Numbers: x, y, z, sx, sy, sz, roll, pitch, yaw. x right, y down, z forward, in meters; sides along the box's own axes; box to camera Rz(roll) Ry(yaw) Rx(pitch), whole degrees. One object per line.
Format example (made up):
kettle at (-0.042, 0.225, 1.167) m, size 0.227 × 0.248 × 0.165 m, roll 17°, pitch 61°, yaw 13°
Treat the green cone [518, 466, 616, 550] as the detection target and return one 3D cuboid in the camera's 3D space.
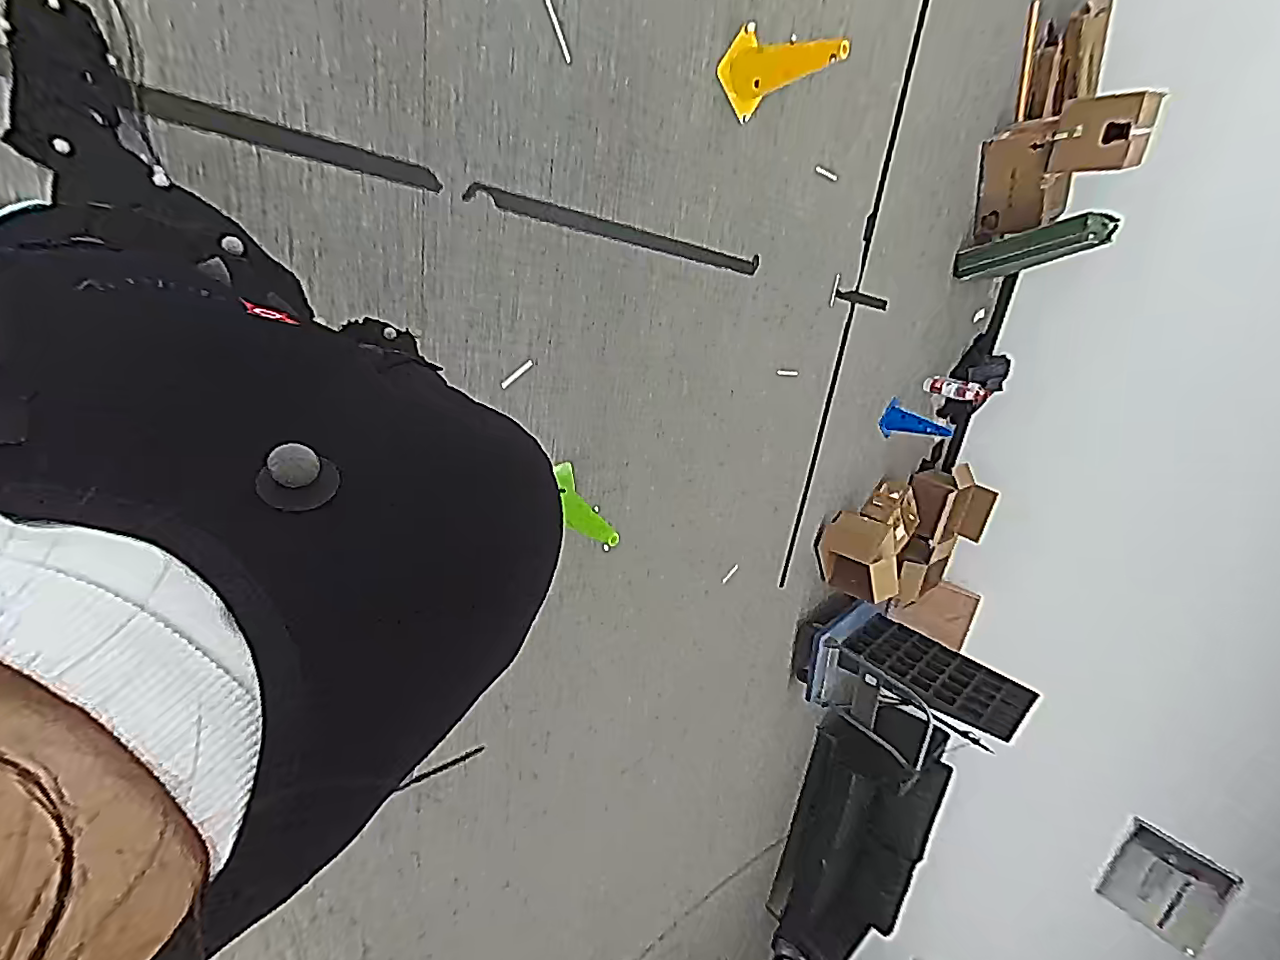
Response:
green cone at (-0.193, 0.120, 1.667) m, size 0.202 × 0.368 × 0.200 m, roll -24°, pitch 123°, yaw -32°
